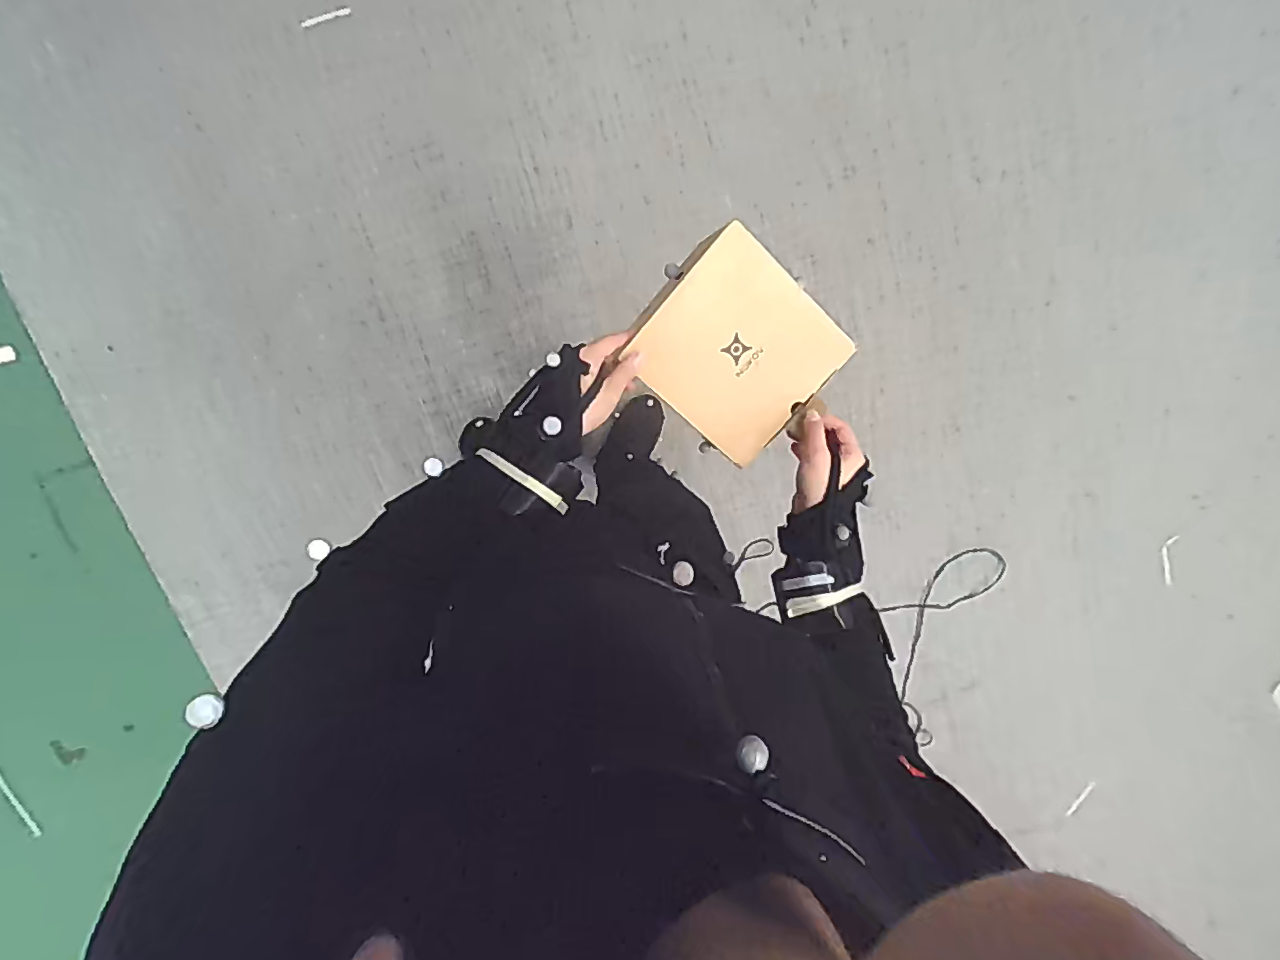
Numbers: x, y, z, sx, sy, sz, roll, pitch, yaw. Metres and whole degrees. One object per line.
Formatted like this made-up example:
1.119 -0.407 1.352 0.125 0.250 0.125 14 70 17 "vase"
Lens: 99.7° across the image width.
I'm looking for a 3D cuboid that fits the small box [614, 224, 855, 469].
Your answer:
0.086 -0.142 0.595 0.179 0.176 0.168 38 99 -16 "small box"
